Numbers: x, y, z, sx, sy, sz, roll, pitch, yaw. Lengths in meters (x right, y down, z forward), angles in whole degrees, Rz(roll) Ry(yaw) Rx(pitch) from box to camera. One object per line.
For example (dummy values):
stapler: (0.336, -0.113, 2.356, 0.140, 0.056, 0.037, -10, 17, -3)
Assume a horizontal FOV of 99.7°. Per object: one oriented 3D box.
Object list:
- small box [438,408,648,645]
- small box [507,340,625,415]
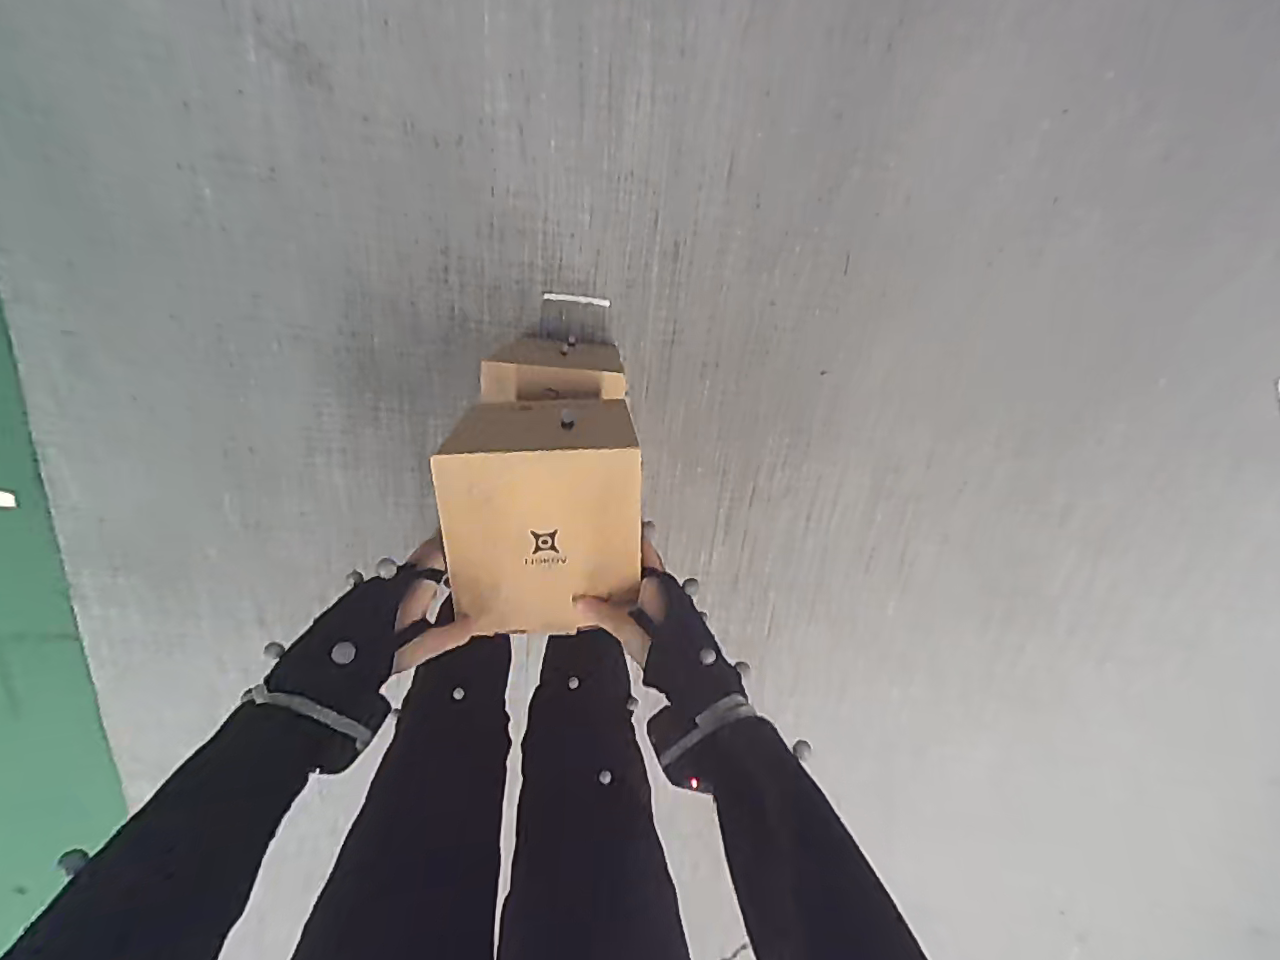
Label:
small box: (-0.085, 0.032, 0.527, 0.168, 0.176, 0.179, -2, 114, -6)
small box: (-0.119, -0.122, 0.861, 0.168, 0.176, 0.179, 5, 110, -6)
